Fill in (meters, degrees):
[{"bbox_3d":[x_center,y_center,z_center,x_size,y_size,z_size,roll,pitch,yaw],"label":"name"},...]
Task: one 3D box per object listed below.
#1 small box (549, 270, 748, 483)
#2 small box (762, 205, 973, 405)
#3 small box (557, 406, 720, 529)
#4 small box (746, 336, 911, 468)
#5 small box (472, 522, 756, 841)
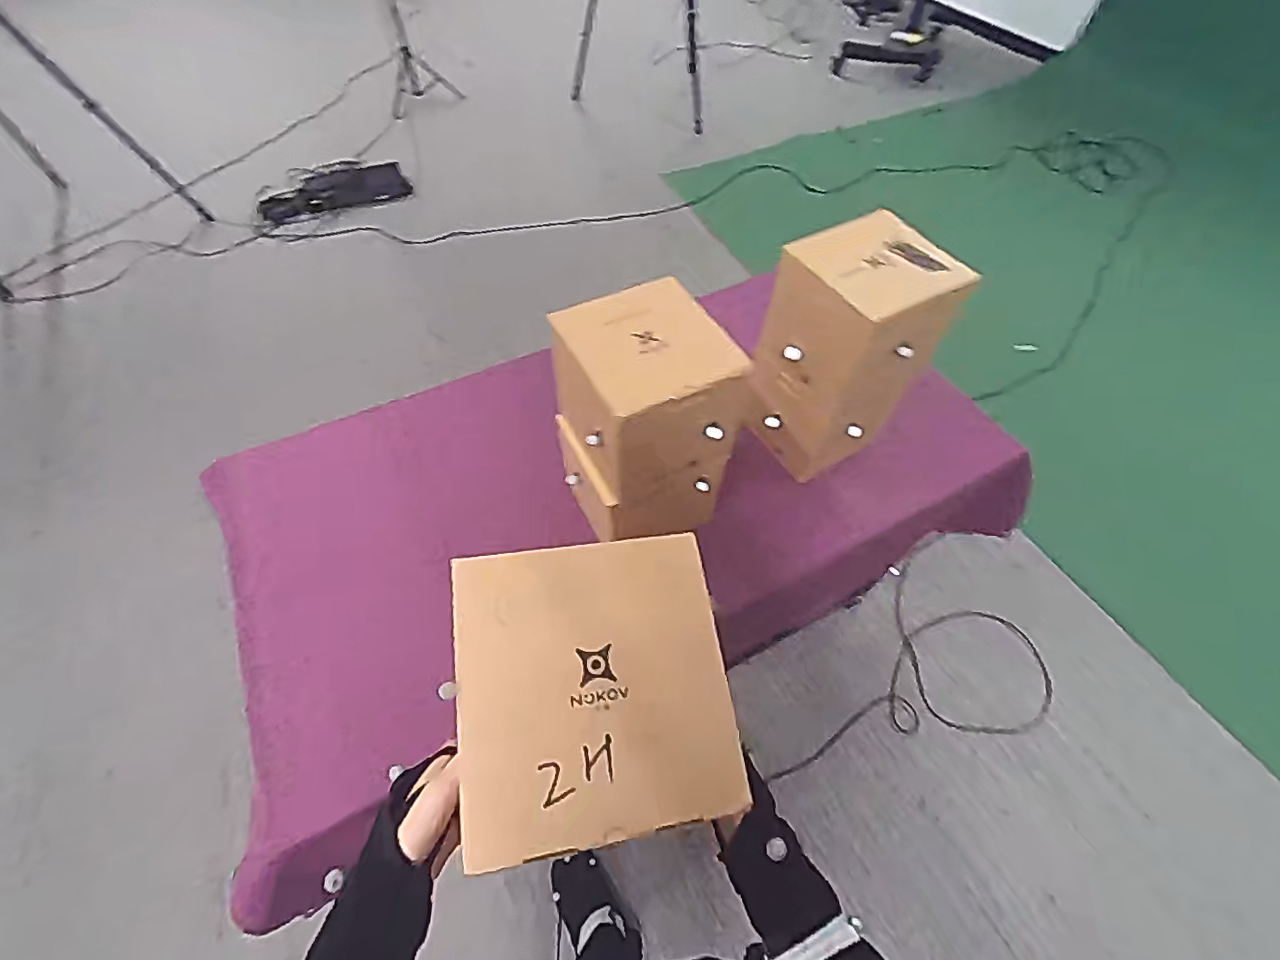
[{"bbox_3d":[0.005,-0.118,0.663,0.168,0.176,0.179,-23,59,-17],"label":"small box"},{"bbox_3d":[0.292,-0.235,0.738,0.179,0.176,0.168,-25,60,-16],"label":"small box"},{"bbox_3d":[-0.004,-0.026,0.797,0.179,0.176,0.168,-22,60,-16],"label":"small box"},{"bbox_3d":[0.289,-0.147,0.878,0.179,0.176,0.168,-26,61,-16],"label":"small box"},{"bbox_3d":[-0.033,0.144,0.409,0.168,0.176,0.179,-3,68,-11],"label":"small box"}]
